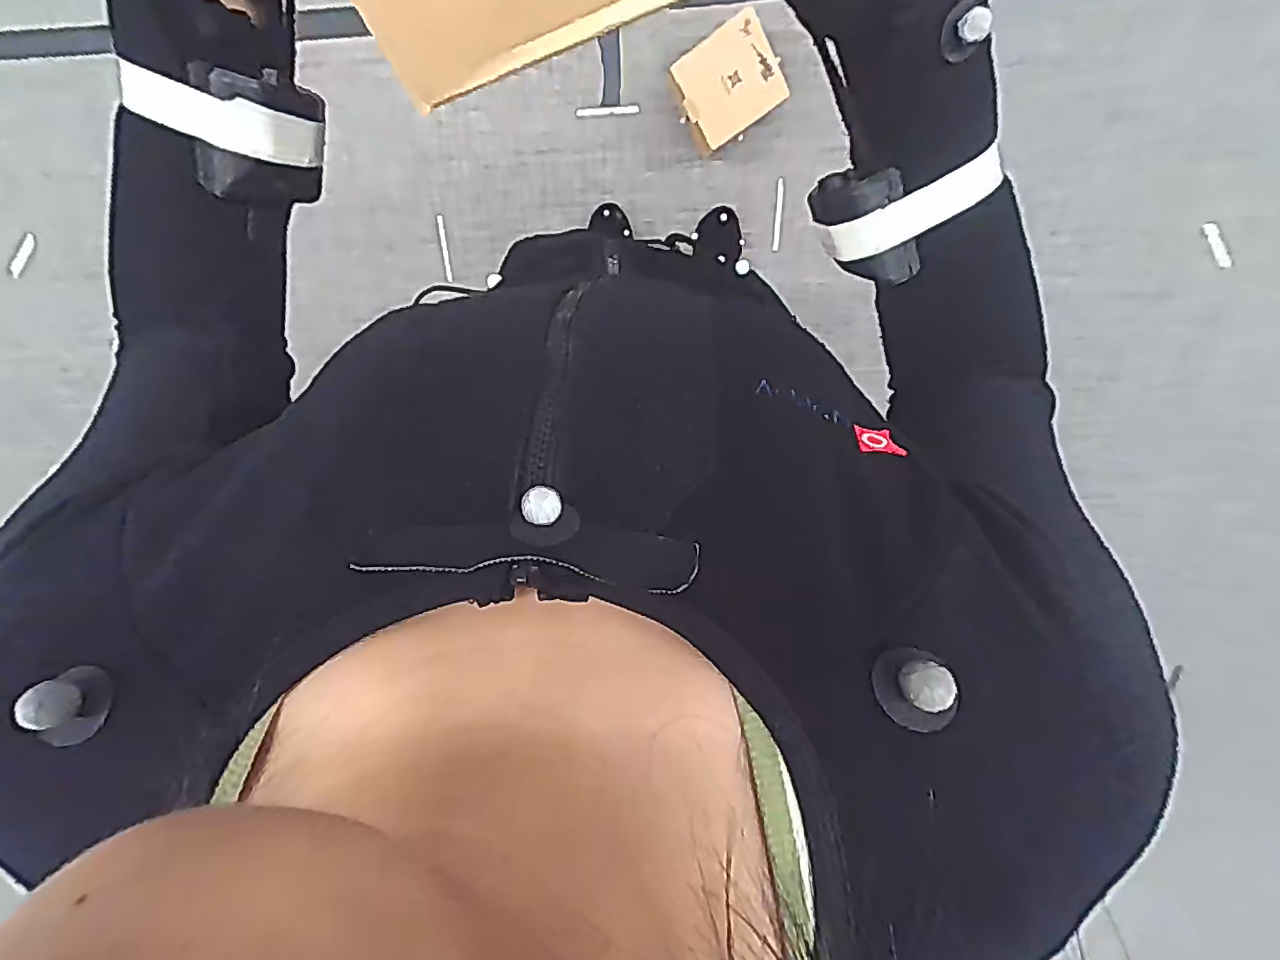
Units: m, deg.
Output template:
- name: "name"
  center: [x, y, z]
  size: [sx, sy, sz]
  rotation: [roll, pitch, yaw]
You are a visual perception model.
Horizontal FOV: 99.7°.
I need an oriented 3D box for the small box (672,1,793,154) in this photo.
- name: "small box"
  center: [0.180, -0.792, 1.091]
  size: [0.179, 0.176, 0.168]
  rotation: [-31, 111, 16]
